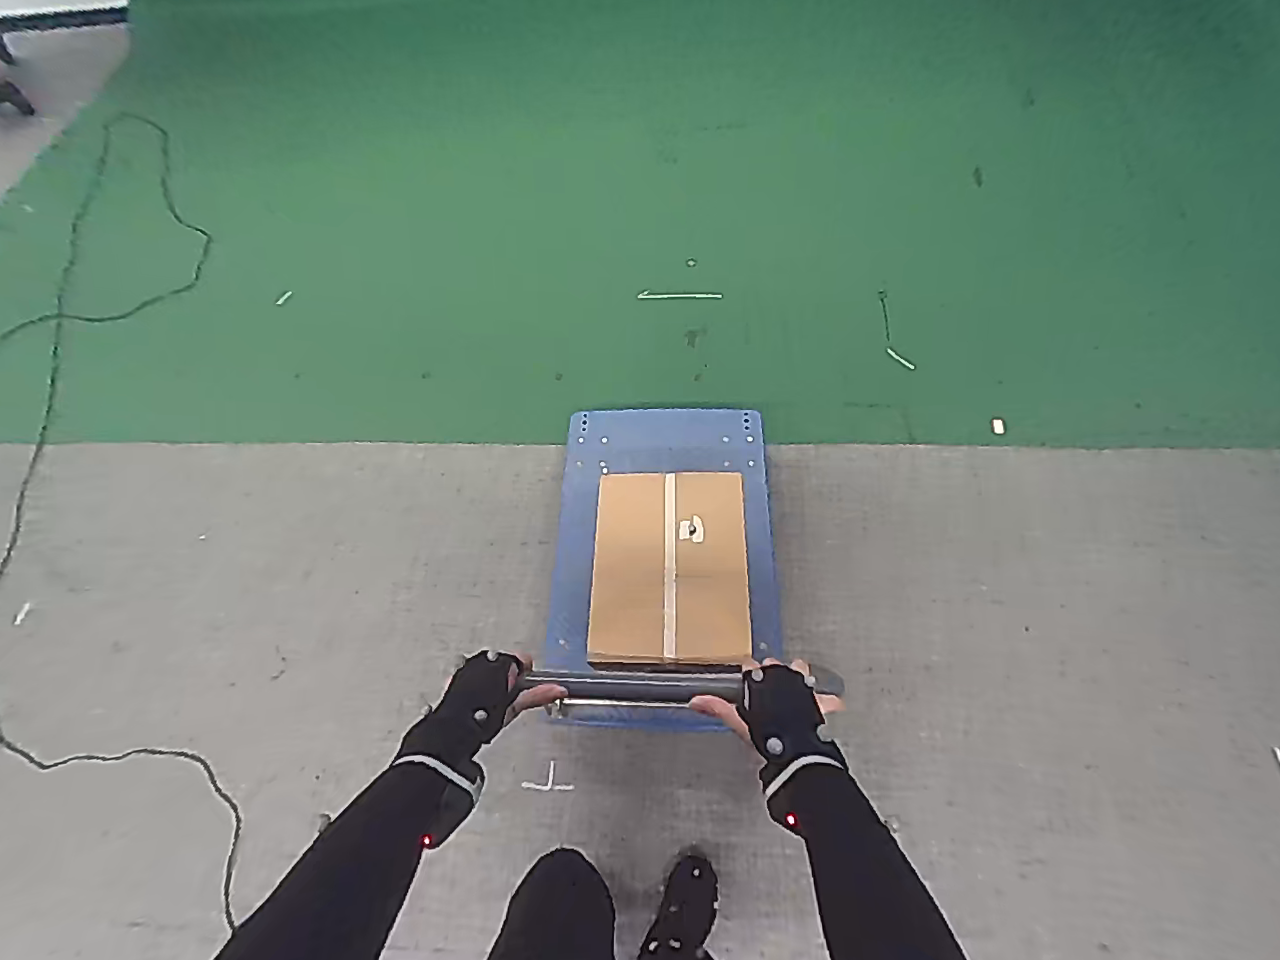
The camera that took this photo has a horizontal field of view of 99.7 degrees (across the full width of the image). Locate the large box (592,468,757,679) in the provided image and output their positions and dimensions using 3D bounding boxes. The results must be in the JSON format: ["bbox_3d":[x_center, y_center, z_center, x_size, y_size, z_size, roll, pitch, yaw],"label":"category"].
[{"bbox_3d":[0.079,0.223,1.225,0.320,0.320,0.408,0,62,4],"label":"large box"}]
